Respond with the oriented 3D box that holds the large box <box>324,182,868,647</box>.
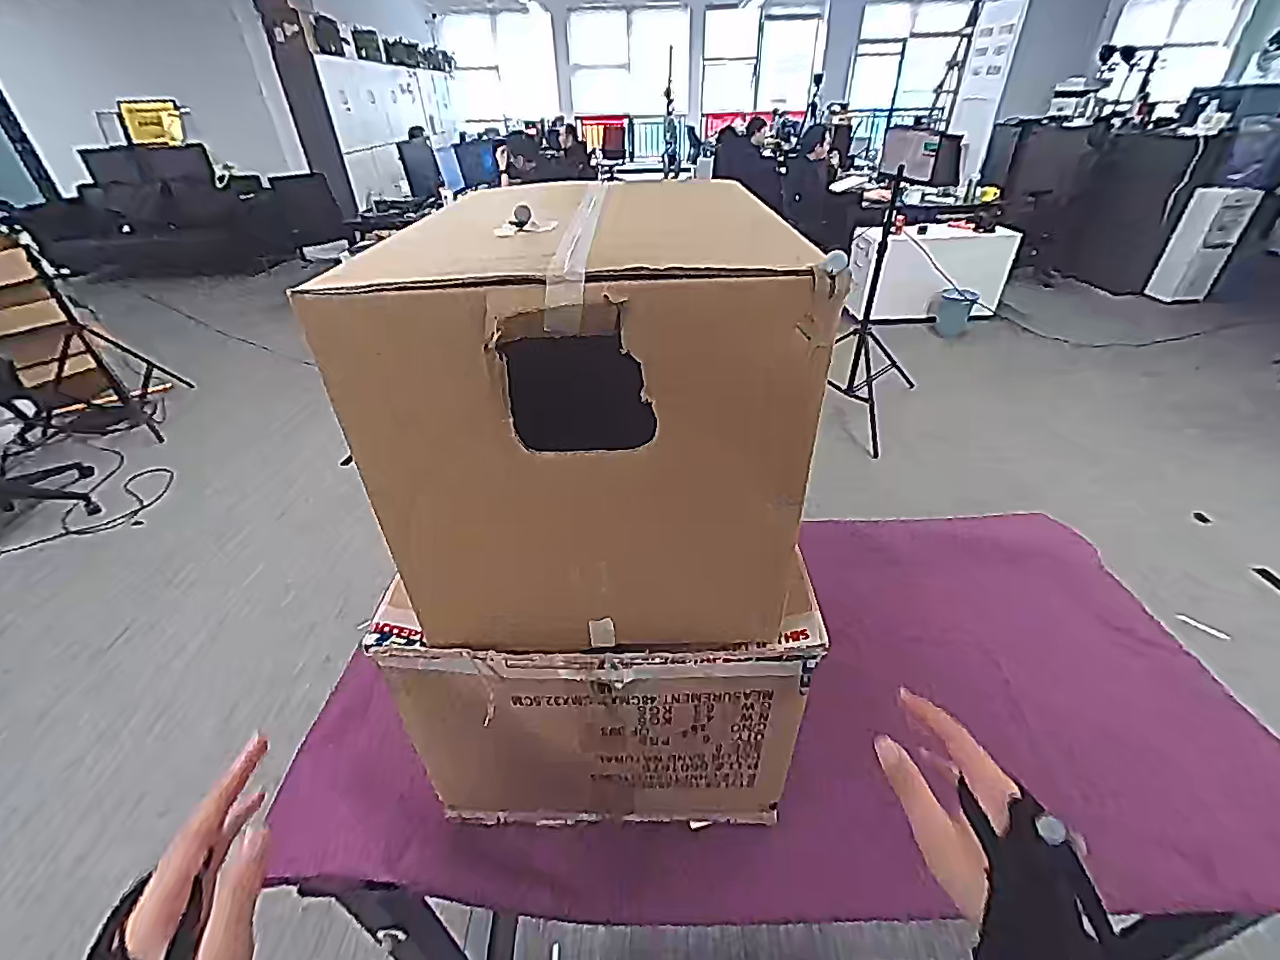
[{"bbox_3d":[-0.027,-0.095,0.543,0.320,0.320,0.408,-3,36,1],"label":"large box"}]
